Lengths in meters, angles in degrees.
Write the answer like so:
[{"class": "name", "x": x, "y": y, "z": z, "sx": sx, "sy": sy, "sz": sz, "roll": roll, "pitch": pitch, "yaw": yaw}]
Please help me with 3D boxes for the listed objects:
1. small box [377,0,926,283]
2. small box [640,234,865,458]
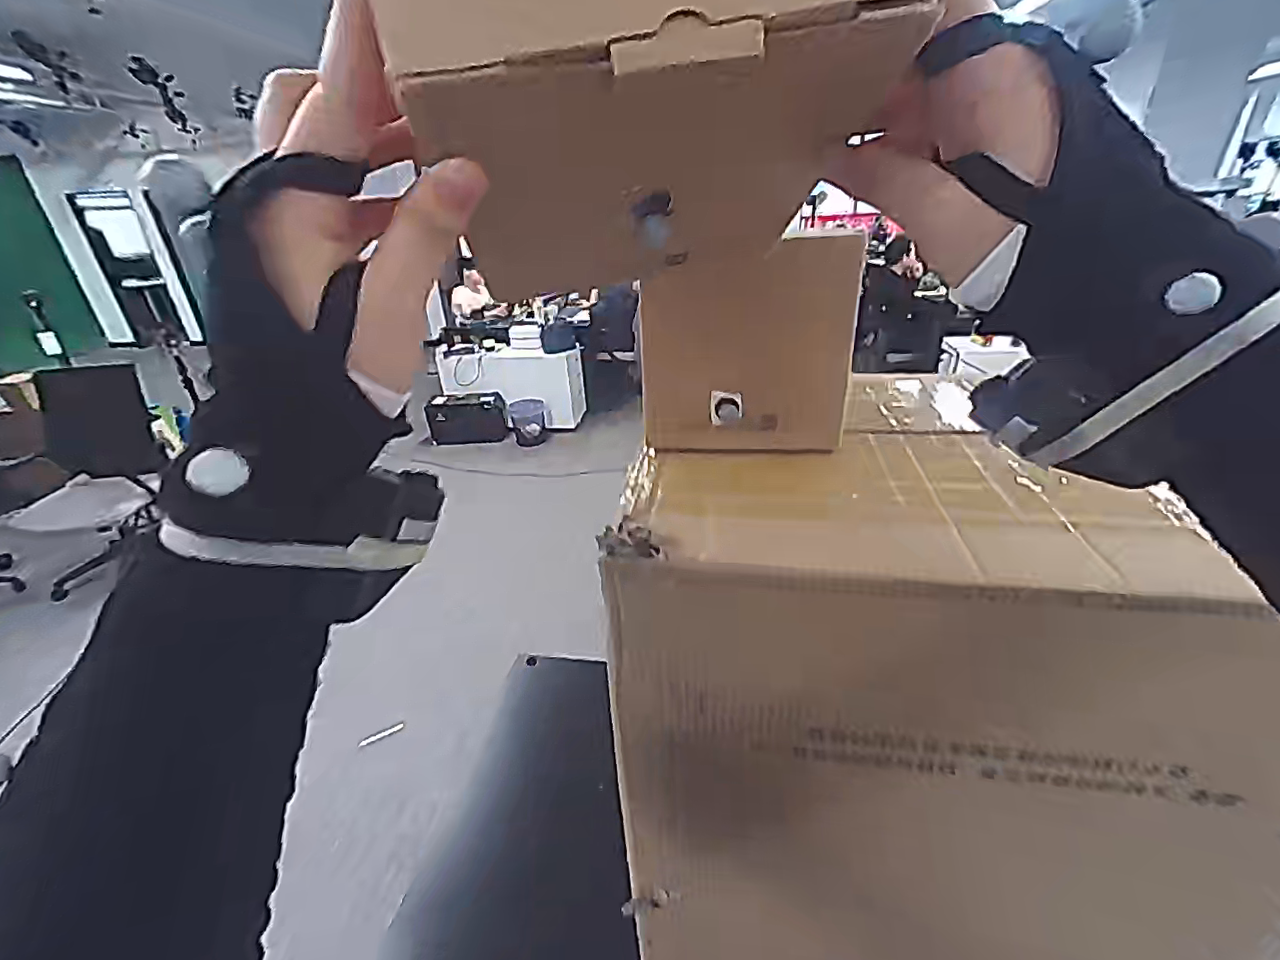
[{"class": "small box", "x": -0.014, "y": -0.205, "z": 0.240, "sx": 0.168, "sy": 0.179, "sz": 0.176, "roll": -13, "pitch": 0, "yaw": -5}, {"class": "small box", "x": 0.091, "y": -0.130, "z": 0.500, "sx": 0.168, "sy": 0.176, "sz": 0.179, "roll": -1, "pitch": 26, "yaw": 6}]
